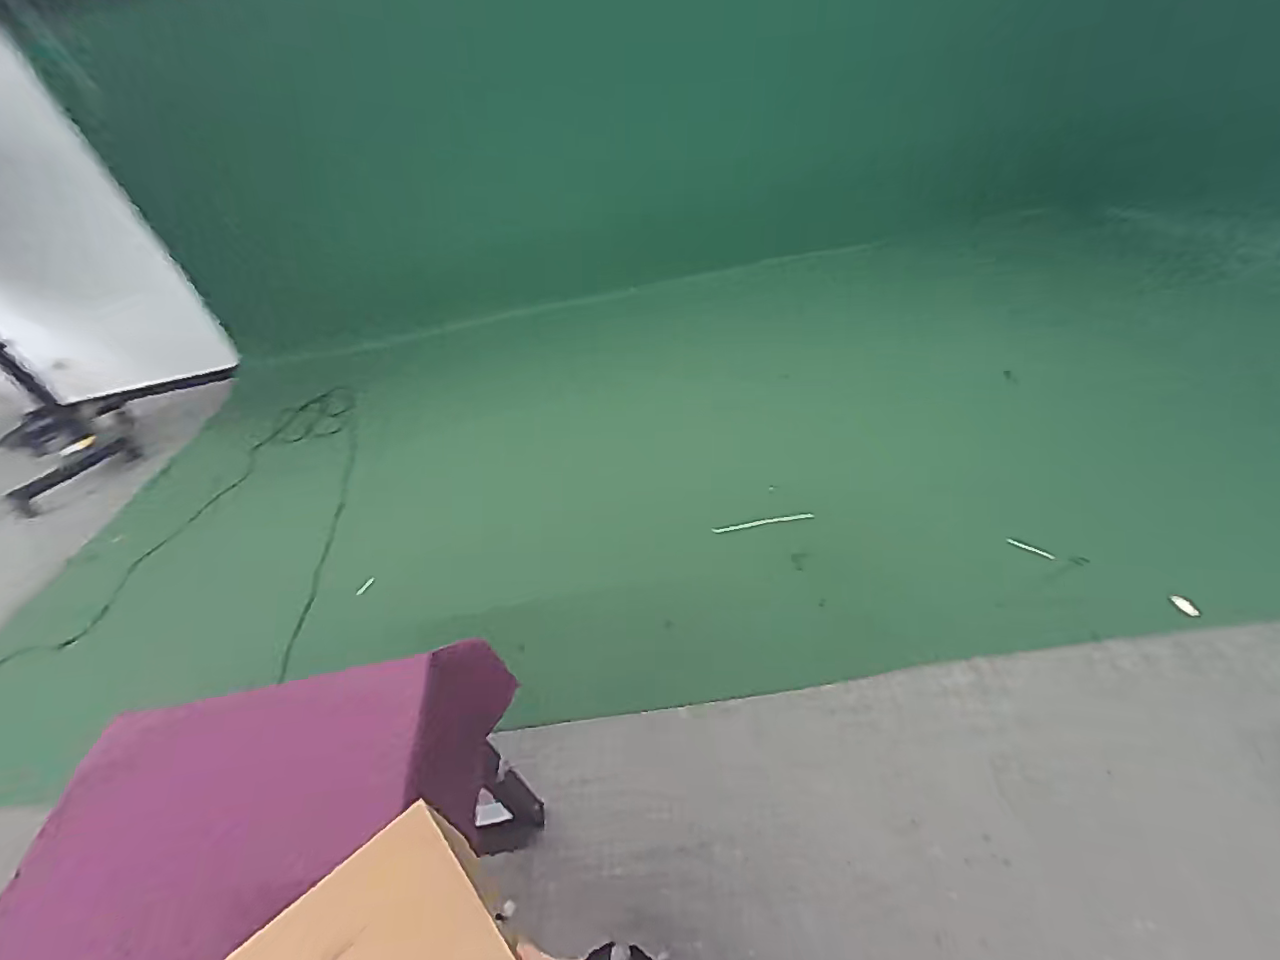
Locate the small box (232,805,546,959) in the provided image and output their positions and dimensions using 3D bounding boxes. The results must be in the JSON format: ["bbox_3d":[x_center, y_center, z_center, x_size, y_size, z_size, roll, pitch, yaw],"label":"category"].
[{"bbox_3d":[-0.160,0.374,0.379,0.168,0.176,0.179,-31,59,-28],"label":"small box"}]
